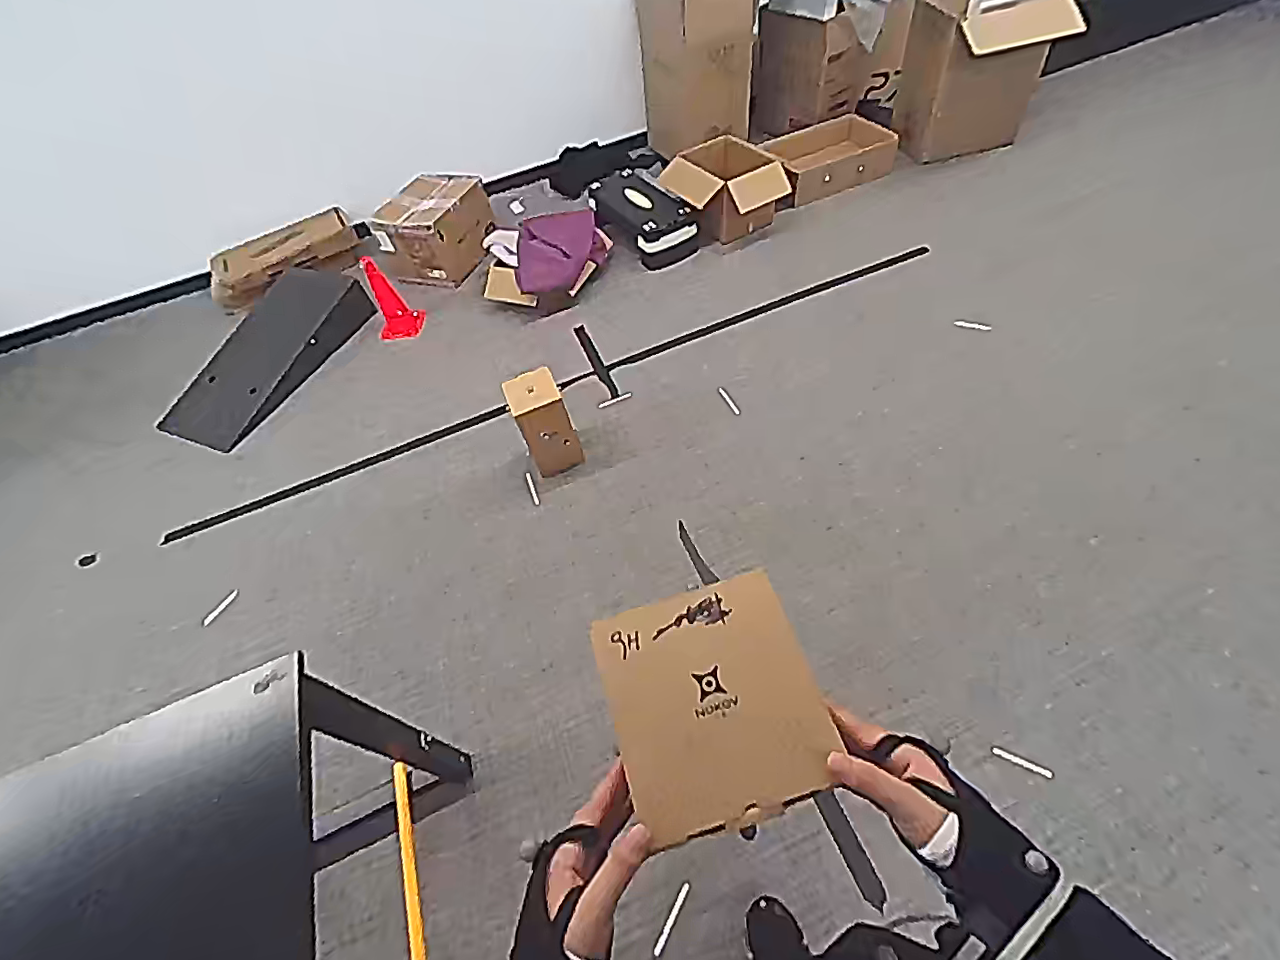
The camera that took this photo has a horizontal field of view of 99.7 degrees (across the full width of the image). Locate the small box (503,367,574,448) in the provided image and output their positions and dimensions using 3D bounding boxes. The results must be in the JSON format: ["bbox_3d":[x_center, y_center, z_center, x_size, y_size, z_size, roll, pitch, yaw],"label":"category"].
[{"bbox_3d":[-0.336,-0.240,1.805,0.168,0.176,0.179,-24,54,-7],"label":"small box"}]

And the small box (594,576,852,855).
[{"bbox_3d":[0.067,0.217,0.508,0.168,0.176,0.179,-17,60,-5],"label":"small box"}]

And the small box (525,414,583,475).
[{"bbox_3d":[-0.314,-0.148,1.937,0.179,0.176,0.168,-24,53,-8],"label":"small box"}]
